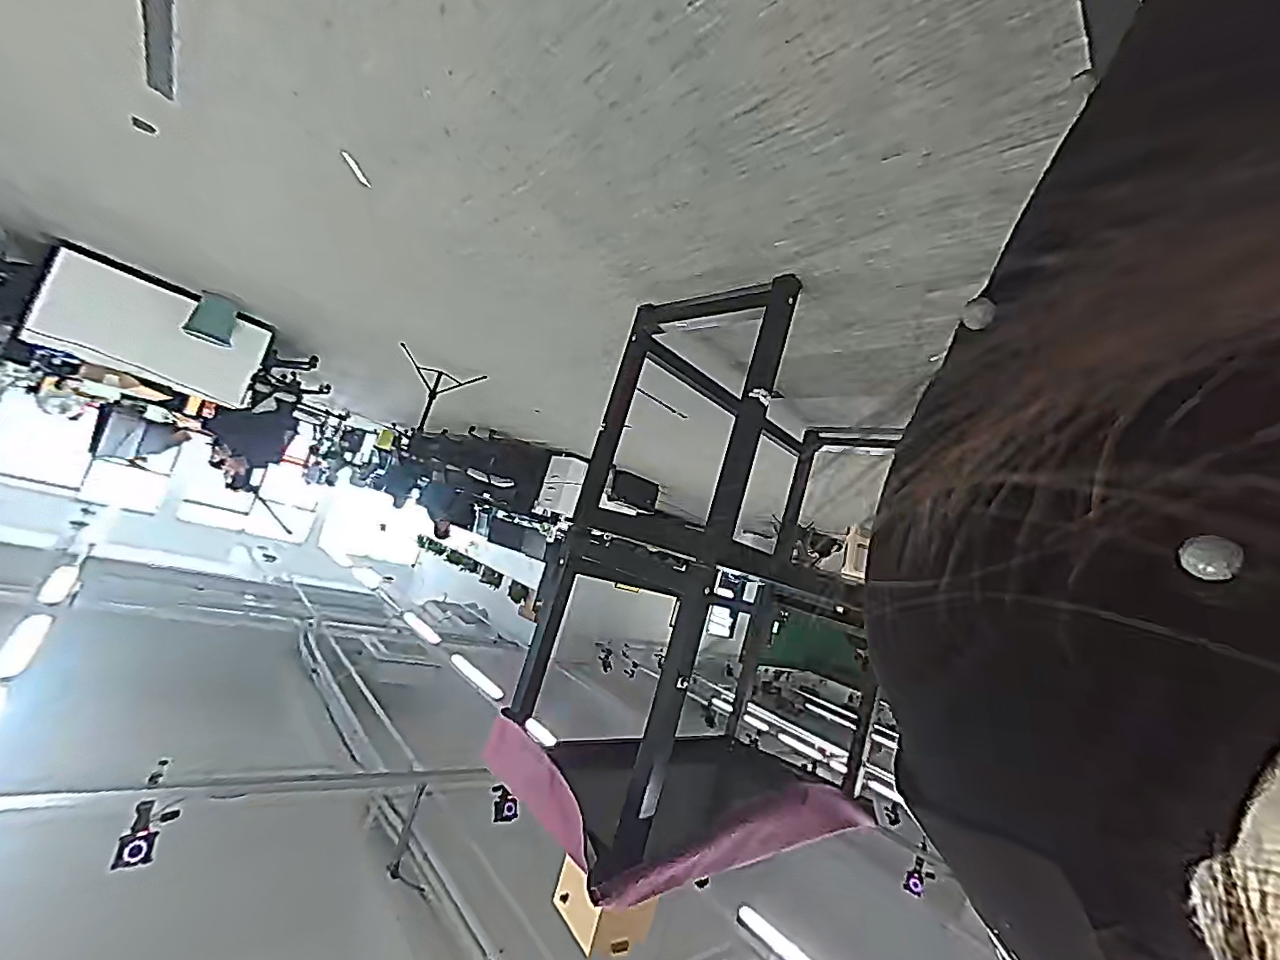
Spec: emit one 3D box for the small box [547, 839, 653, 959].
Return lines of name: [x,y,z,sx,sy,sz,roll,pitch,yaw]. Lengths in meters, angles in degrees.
small box: [-0.092,0.988,1.284,0.168,0.176,0.179,21,172,-35]
